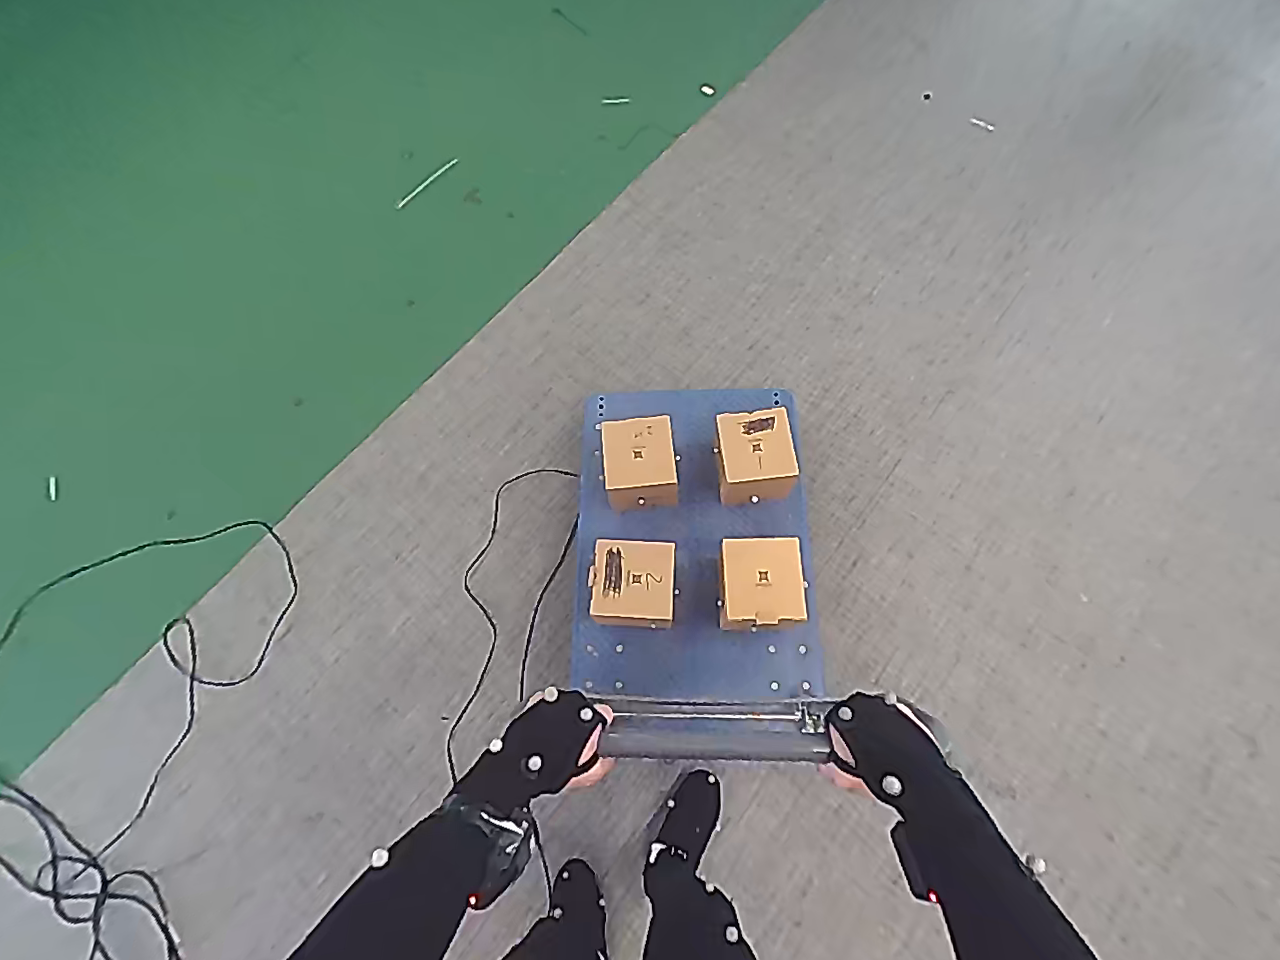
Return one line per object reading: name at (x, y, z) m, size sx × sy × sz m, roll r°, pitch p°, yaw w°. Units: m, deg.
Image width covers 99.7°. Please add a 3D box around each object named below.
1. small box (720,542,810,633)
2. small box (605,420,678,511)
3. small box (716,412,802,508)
small box at (0.270, 0.244, 1.208) m, size 0.168 × 0.176 × 0.179 m, roll -1°, pitch 70°, yaw 3°
small box at (0.006, -0.028, 1.326) m, size 0.168 × 0.176 × 0.179 m, roll -5°, pitch 69°, yaw 1°
small box at (0.280, -0.044, 1.316) m, size 0.168 × 0.176 × 0.179 m, roll -6°, pitch 70°, yaw 2°
